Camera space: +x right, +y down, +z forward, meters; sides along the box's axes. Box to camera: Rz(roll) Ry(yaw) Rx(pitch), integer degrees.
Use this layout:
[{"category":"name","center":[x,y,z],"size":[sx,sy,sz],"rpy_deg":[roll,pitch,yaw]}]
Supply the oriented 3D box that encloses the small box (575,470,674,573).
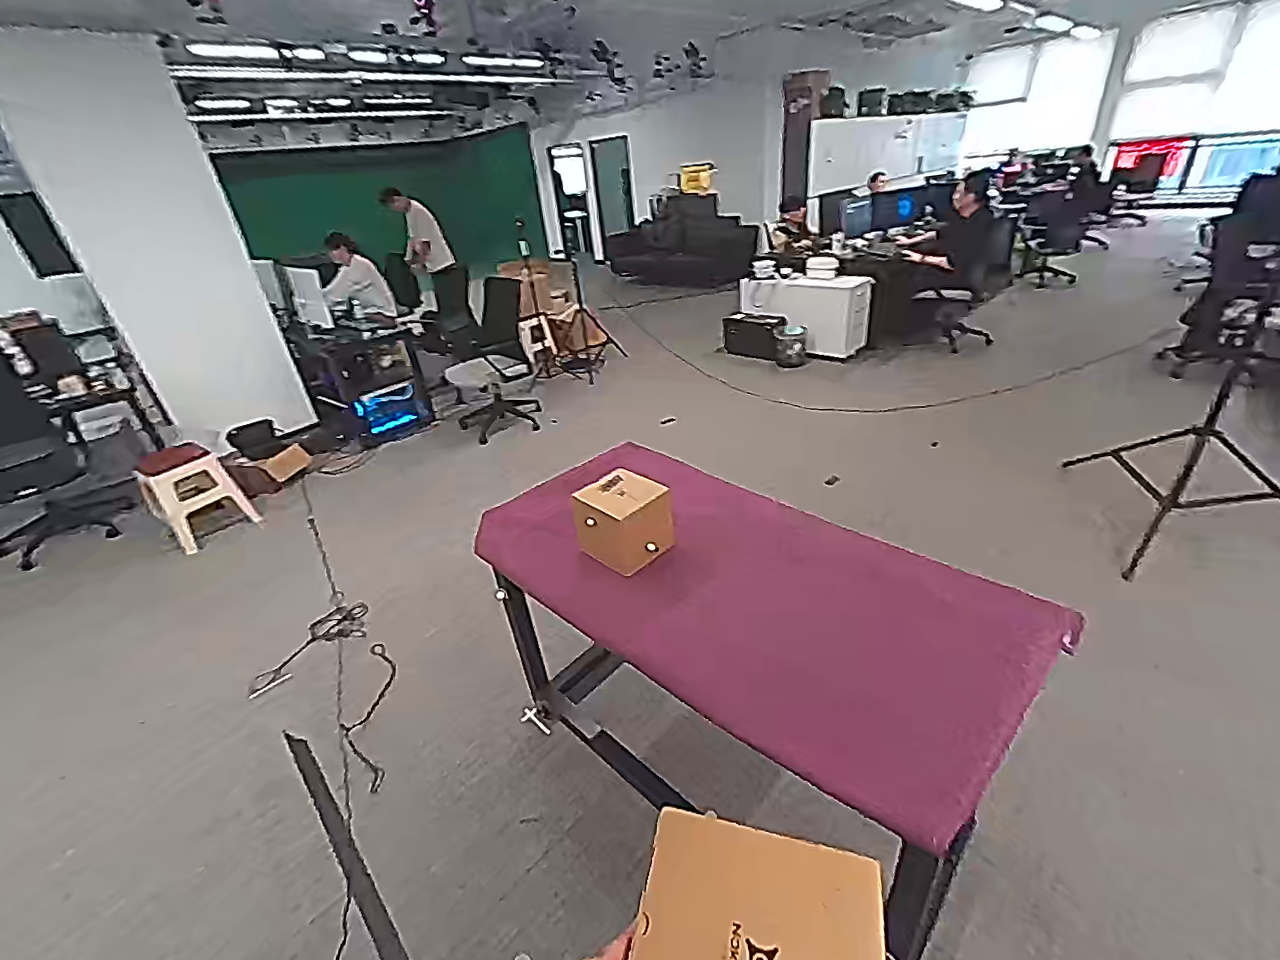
[{"category":"small box","center":[-0.034,0.100,1.328],"size":[0.179,0.176,0.168],"rpy_deg":[23,41,40]}]

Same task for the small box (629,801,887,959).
[{"category":"small box","center":[0.091,0.393,0.431],"size":[0.179,0.176,0.168],"rpy_deg":[4,40,16]}]
